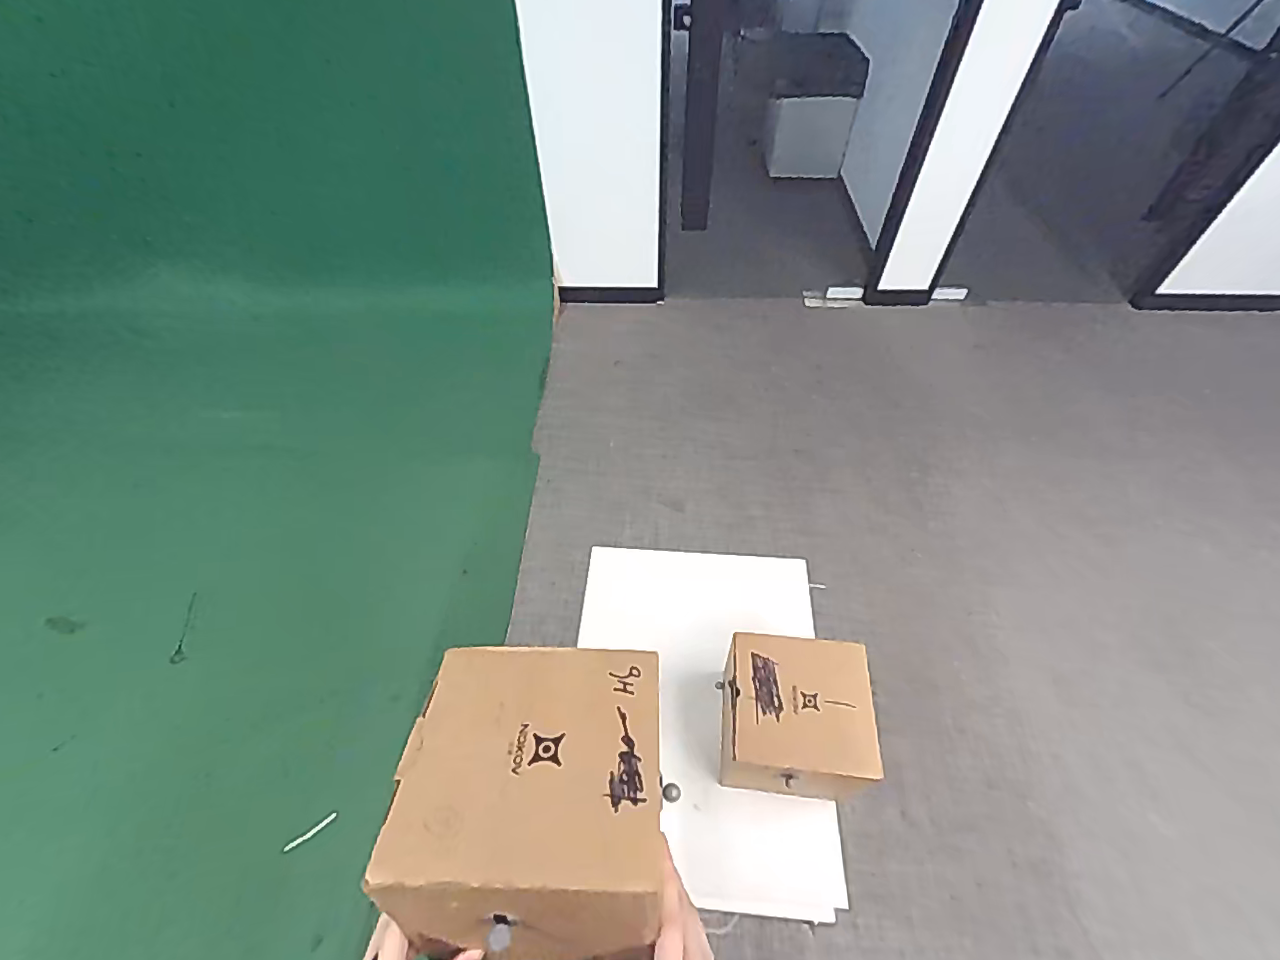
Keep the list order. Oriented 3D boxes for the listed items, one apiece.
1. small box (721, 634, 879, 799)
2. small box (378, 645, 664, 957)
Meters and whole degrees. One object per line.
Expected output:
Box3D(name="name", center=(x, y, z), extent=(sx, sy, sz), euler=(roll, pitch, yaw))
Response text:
Box3D(name="small box", center=(0.207, 0.332, 0.752), extent=(0.179, 0.176, 0.168), euler=(5, 52, 5))
Box3D(name="small box", center=(-0.070, 0.253, 0.434), extent=(0.179, 0.176, 0.168), euler=(1, 36, 1))
